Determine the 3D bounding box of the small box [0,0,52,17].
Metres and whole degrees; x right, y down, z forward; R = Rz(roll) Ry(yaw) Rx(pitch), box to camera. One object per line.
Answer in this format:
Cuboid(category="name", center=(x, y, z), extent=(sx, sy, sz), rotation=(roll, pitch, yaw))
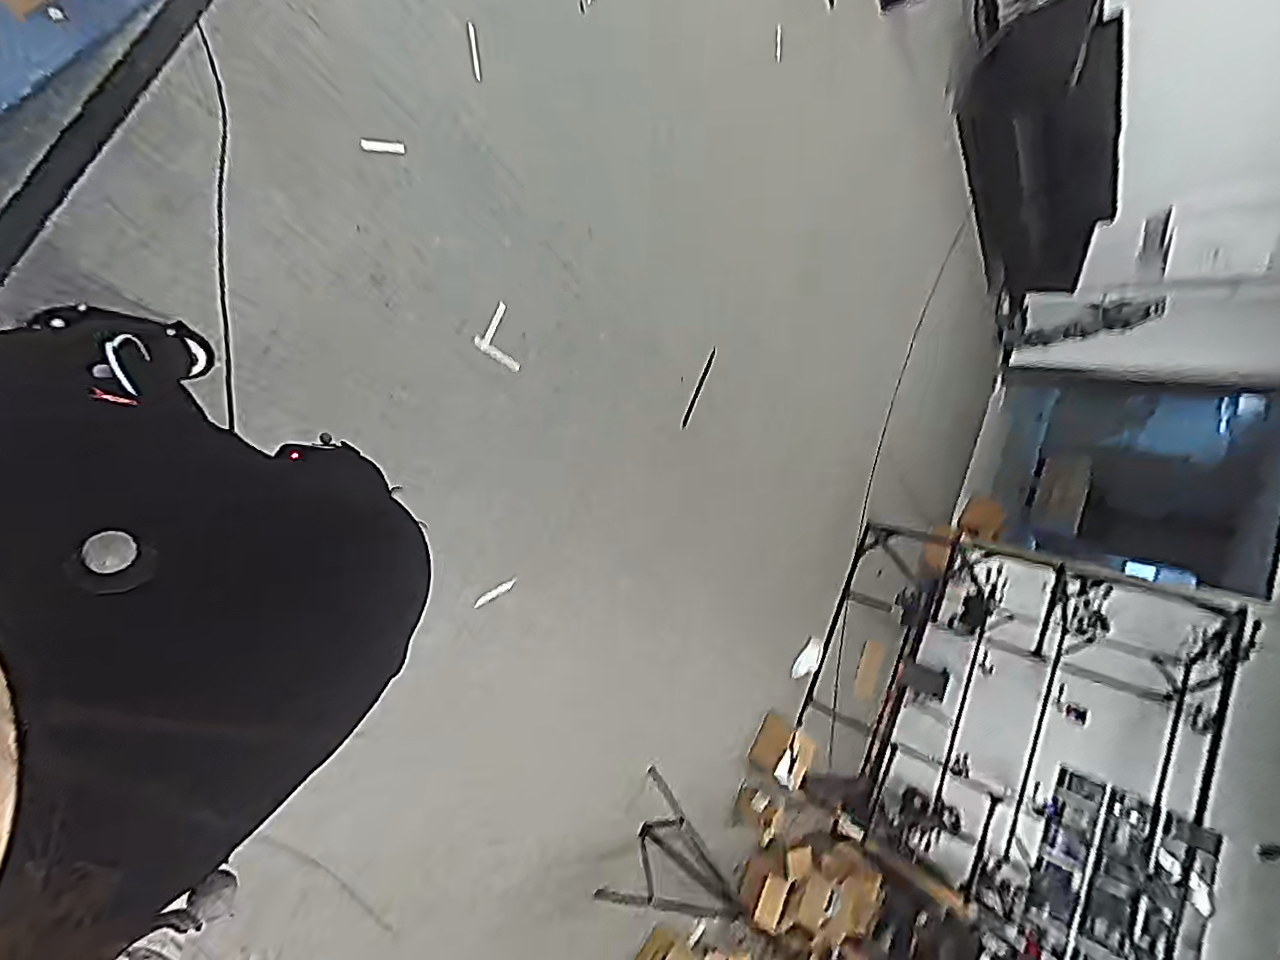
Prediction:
Cuboid(category="small box", center=(-0.865, -0.781, 0.722), extent=(0.168, 0.176, 0.179), rotation=(47, 68, -42))
